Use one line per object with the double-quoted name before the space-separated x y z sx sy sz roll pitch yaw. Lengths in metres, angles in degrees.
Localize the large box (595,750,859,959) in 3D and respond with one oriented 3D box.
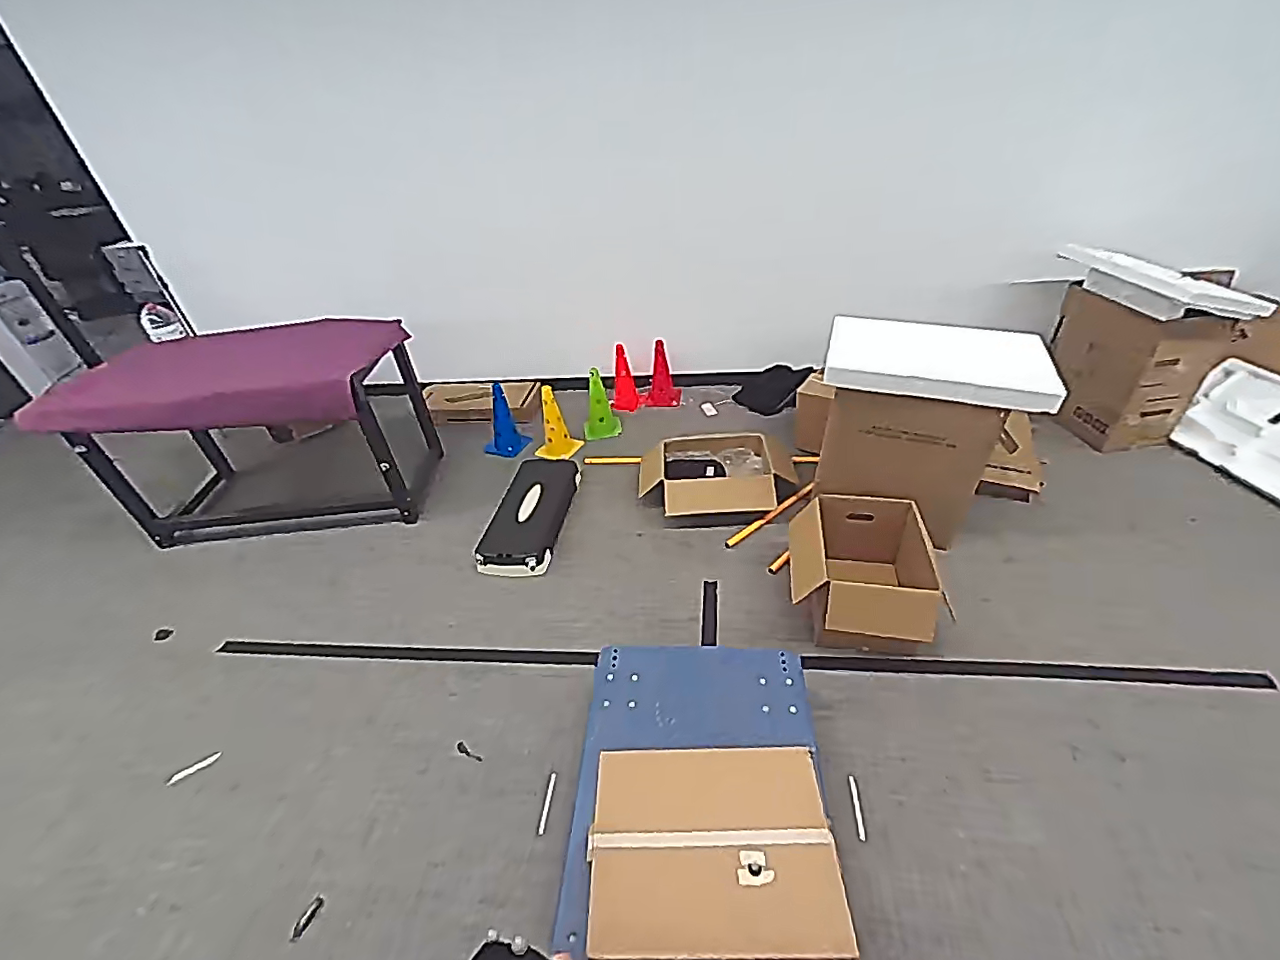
"large box" 0.134 0.739 1.008 0.408 0.320 0.320 -2 37 2
